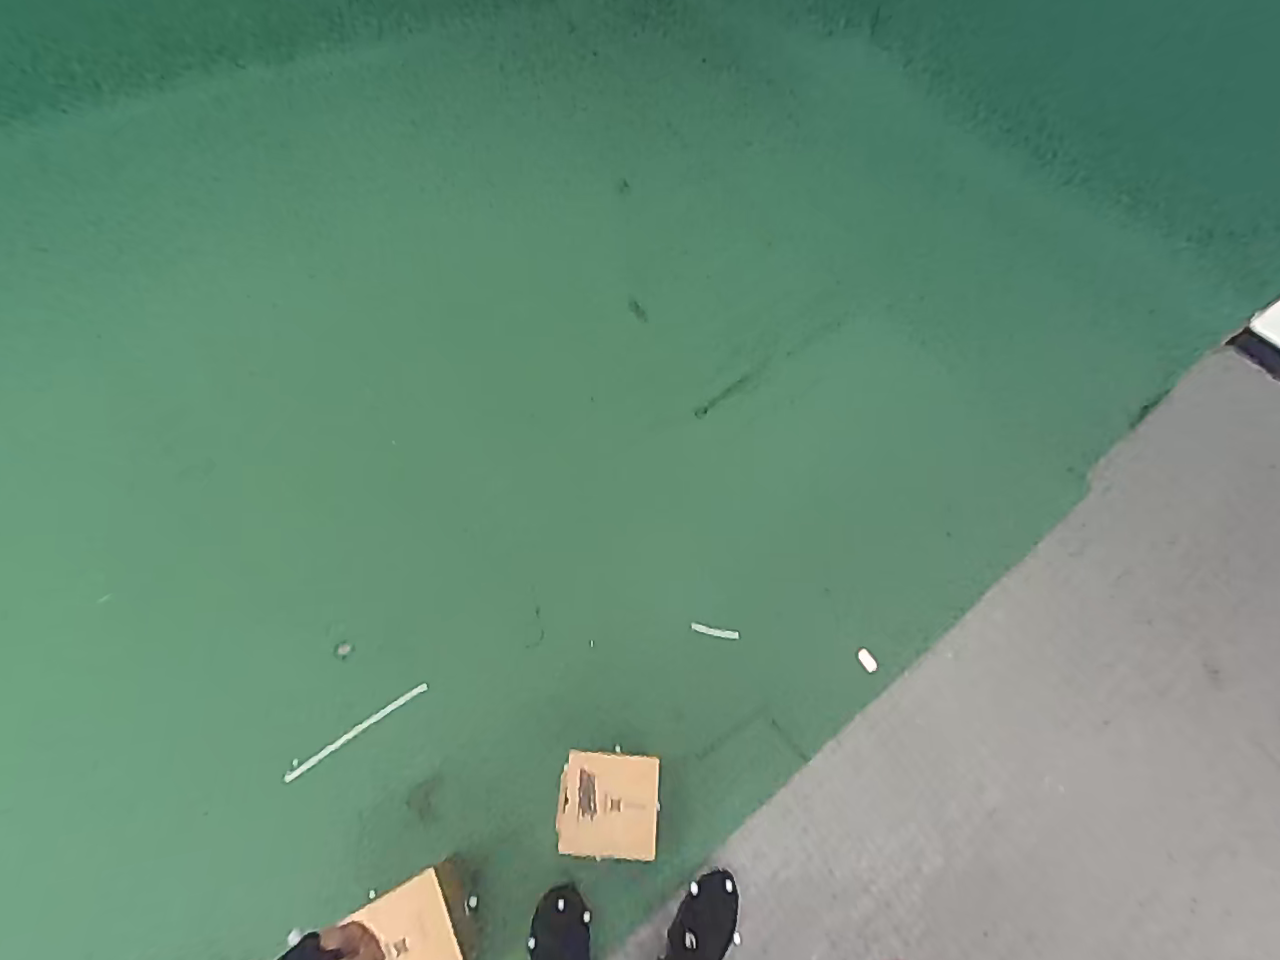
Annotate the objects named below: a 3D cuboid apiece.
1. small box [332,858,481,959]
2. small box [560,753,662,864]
[{"bbox_3d":[-0.400,0.808,0.950,0.179,0.176,0.168,-24,69,-17],"label":"small box"},{"bbox_3d":[-0.057,0.639,1.064,0.179,0.176,0.168,6,63,-3],"label":"small box"}]
